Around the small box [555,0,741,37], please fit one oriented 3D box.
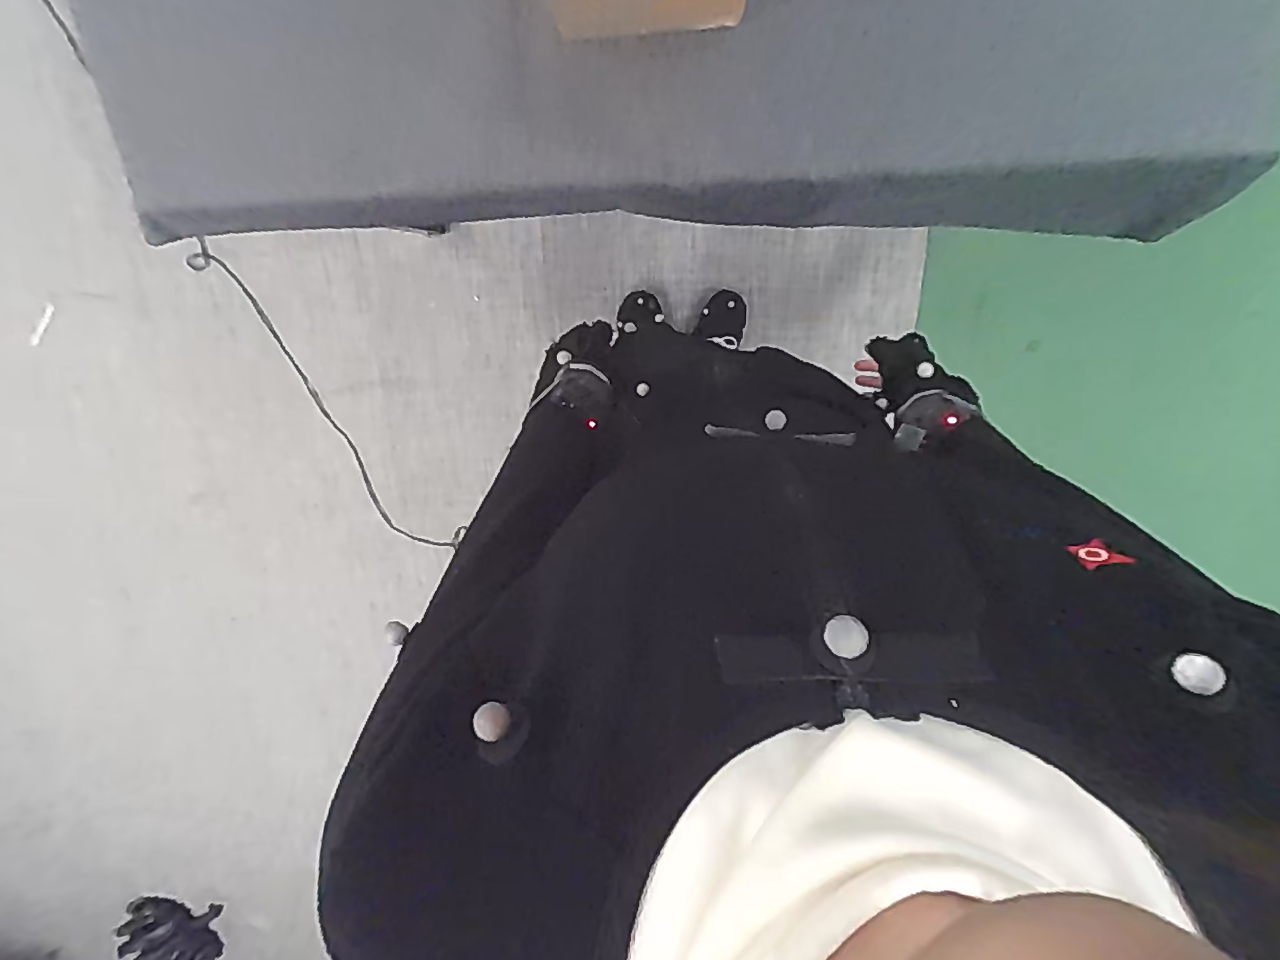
[{"bbox_3d":[0.005,-0.489,0.434,0.179,0.176,0.168,-2,111,3],"label":"small box"}]
